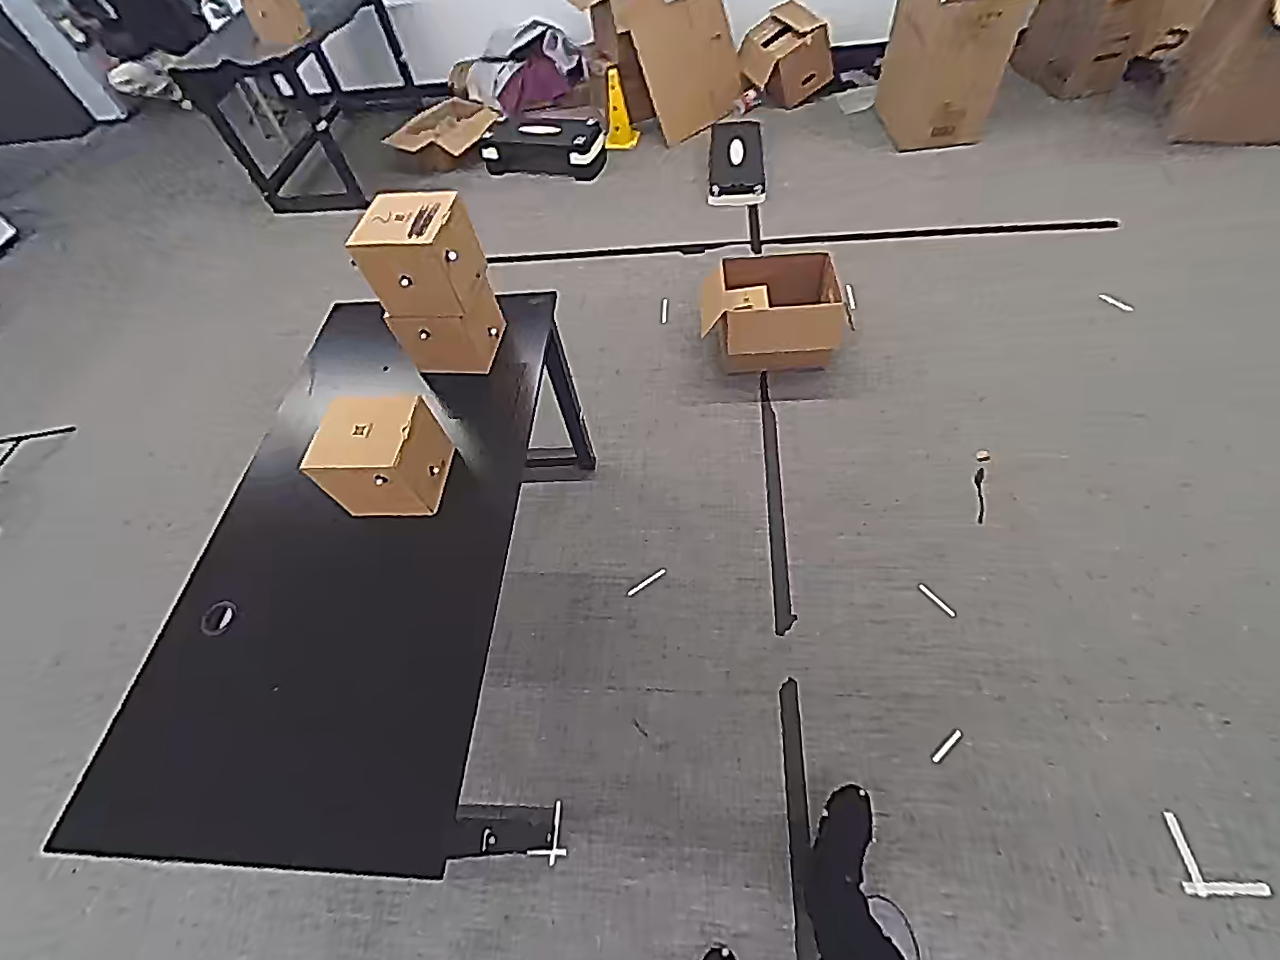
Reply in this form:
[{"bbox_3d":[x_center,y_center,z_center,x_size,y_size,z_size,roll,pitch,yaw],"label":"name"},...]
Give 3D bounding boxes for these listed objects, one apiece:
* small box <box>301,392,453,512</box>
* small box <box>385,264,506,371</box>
[{"bbox_3d":[-0.482,-0.048,1.022,0.179,0.176,0.168,-1,57,6],"label":"small box"},{"bbox_3d":[-0.427,-0.361,1.214,0.179,0.176,0.168,3,59,9],"label":"small box"}]
